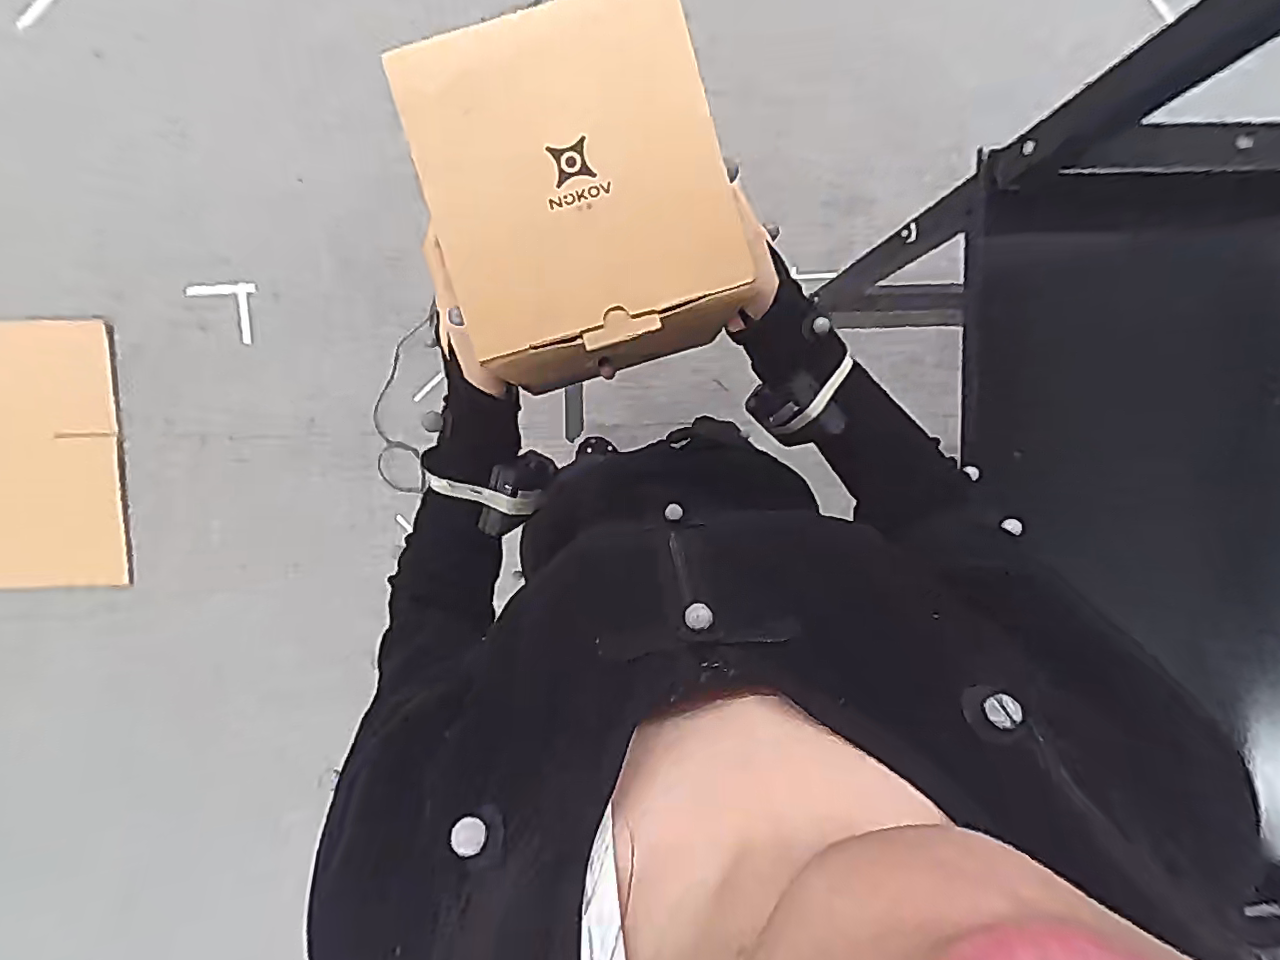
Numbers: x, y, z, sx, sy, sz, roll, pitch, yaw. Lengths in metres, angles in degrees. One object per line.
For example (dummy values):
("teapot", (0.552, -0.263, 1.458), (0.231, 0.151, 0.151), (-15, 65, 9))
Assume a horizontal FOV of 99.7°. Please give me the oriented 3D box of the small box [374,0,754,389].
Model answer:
("small box", (-0.042, -0.175, 0.369), (0.168, 0.176, 0.179), (-17, 93, -1))
